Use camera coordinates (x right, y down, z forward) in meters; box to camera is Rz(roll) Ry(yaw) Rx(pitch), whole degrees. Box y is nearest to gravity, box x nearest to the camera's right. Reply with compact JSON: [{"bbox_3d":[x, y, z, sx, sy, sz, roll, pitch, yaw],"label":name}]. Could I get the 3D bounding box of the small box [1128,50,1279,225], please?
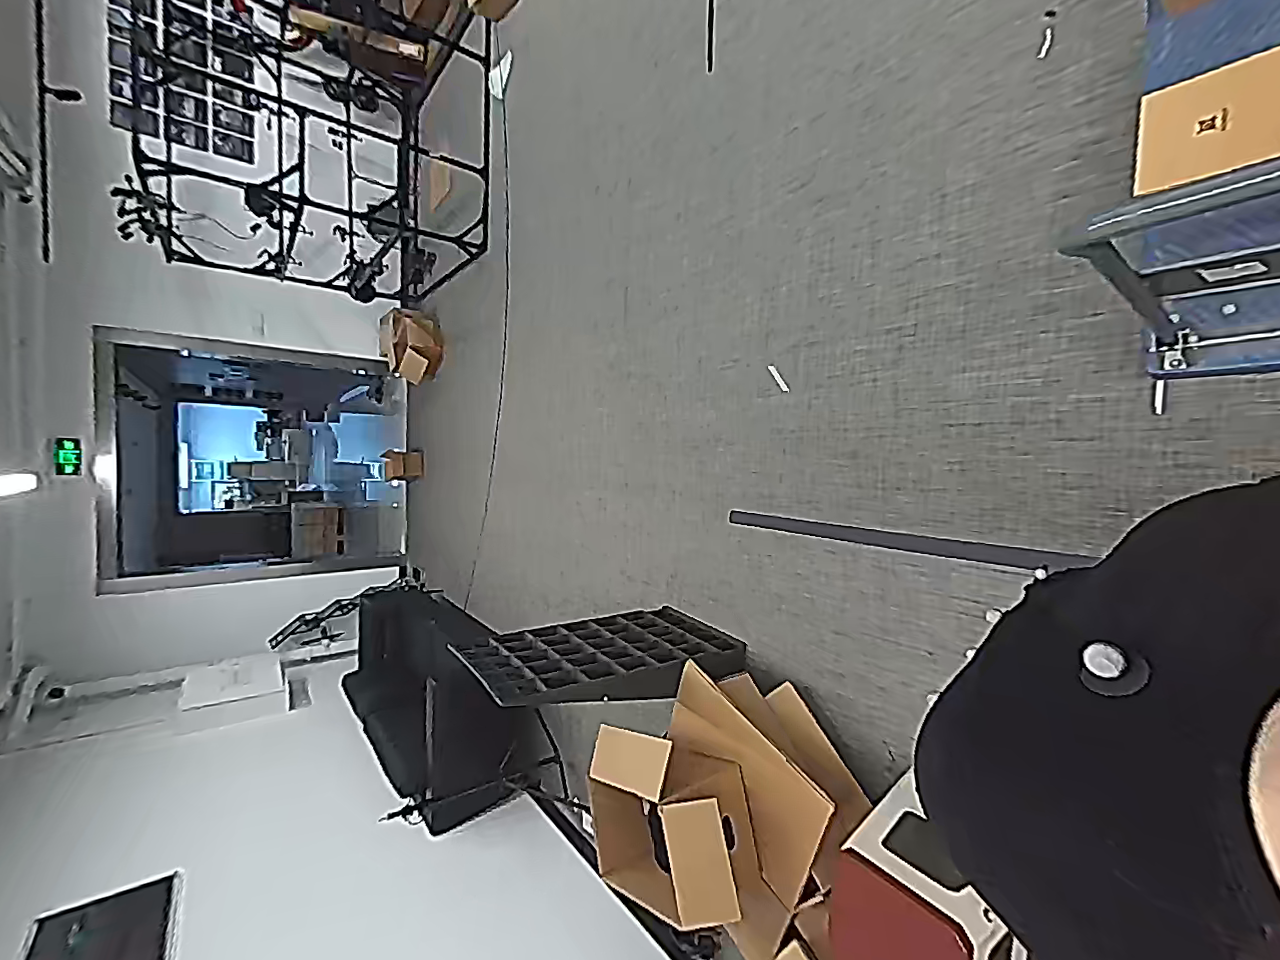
[{"bbox_3d":[0.942,-0.545,0.888,0.179,0.176,0.168,6,94,51],"label":"small box"}]
